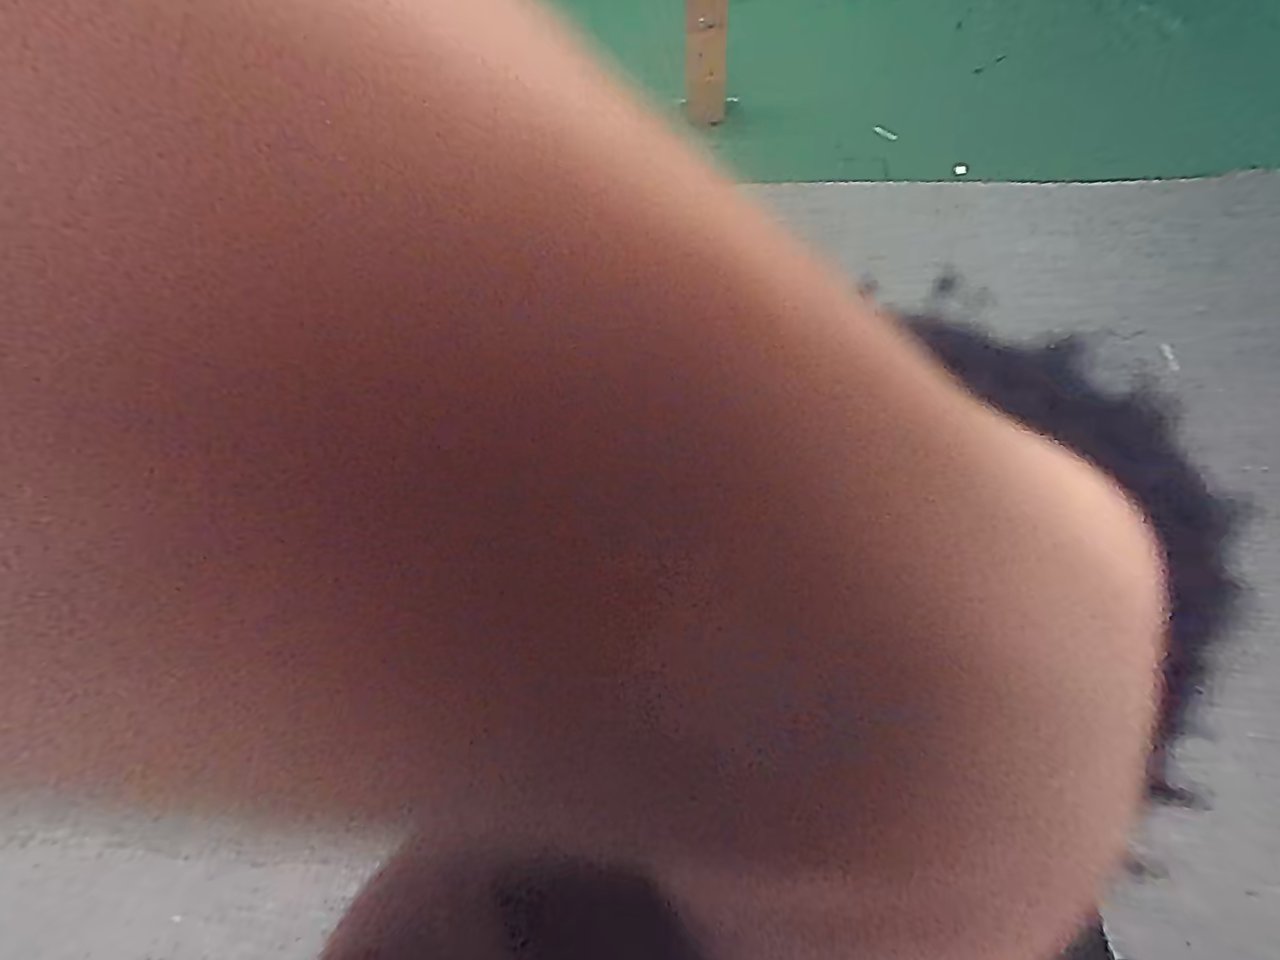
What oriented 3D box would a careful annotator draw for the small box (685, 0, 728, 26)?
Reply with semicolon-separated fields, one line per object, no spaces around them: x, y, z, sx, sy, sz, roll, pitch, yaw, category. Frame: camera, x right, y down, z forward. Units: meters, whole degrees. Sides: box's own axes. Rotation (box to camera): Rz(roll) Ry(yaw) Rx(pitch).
0.259;-1.896;2.085;0.168;0.176;0.179;1;62;7;small box

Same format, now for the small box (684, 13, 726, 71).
0.270;-1.815;2.226;0.168;0.176;0.179;0;61;6;small box
